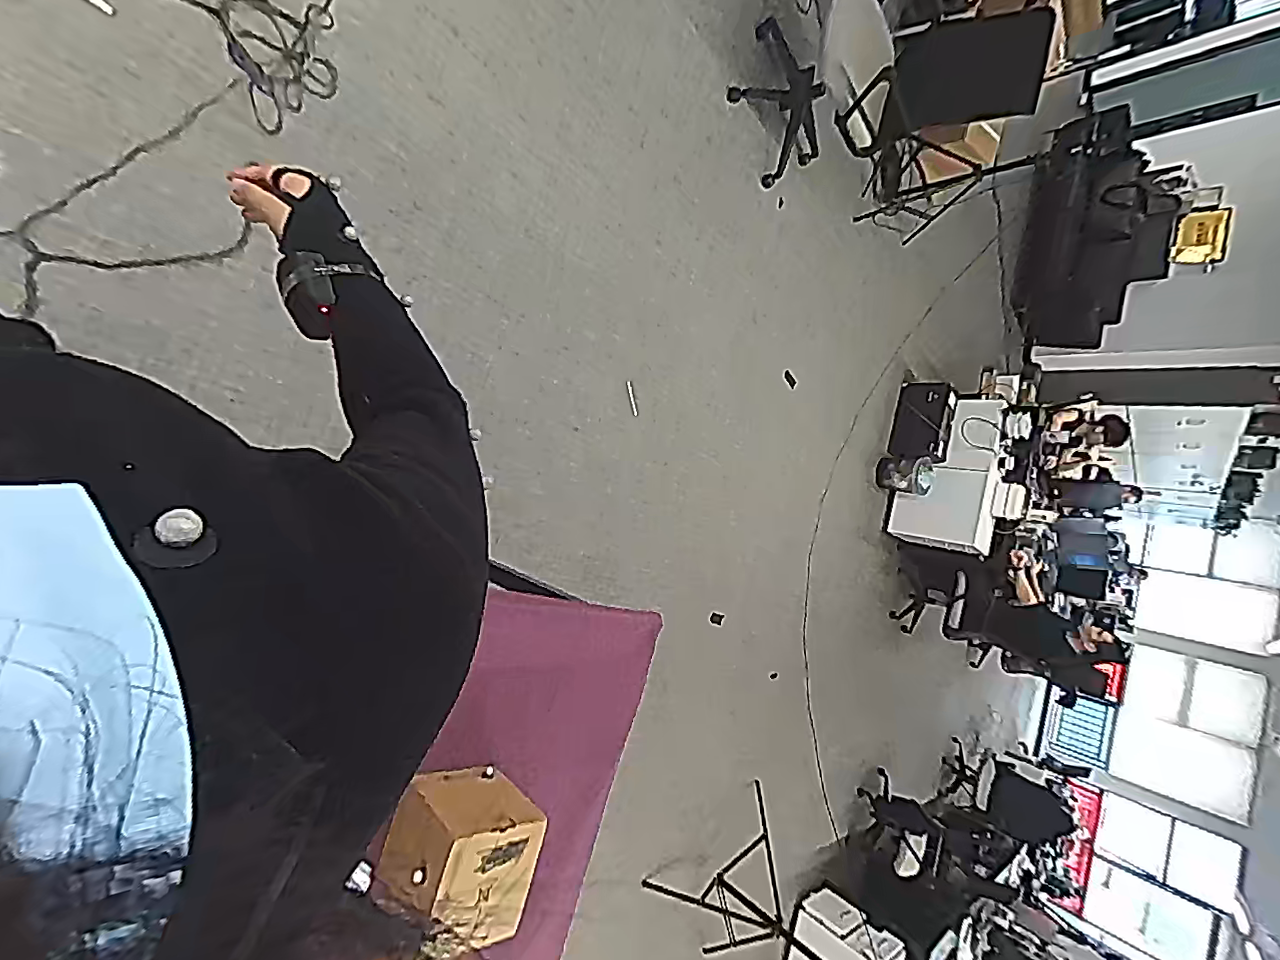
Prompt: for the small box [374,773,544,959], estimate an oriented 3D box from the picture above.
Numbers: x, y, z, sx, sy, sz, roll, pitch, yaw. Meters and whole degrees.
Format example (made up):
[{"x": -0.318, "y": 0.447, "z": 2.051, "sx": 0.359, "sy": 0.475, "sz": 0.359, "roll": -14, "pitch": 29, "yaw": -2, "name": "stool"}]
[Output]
[{"x": -0.281, "y": 0.575, "z": 0.831, "sx": 0.168, "sy": 0.176, "sz": 0.179, "roll": 23, "pitch": 81, "yaw": -44, "name": "small box"}]
